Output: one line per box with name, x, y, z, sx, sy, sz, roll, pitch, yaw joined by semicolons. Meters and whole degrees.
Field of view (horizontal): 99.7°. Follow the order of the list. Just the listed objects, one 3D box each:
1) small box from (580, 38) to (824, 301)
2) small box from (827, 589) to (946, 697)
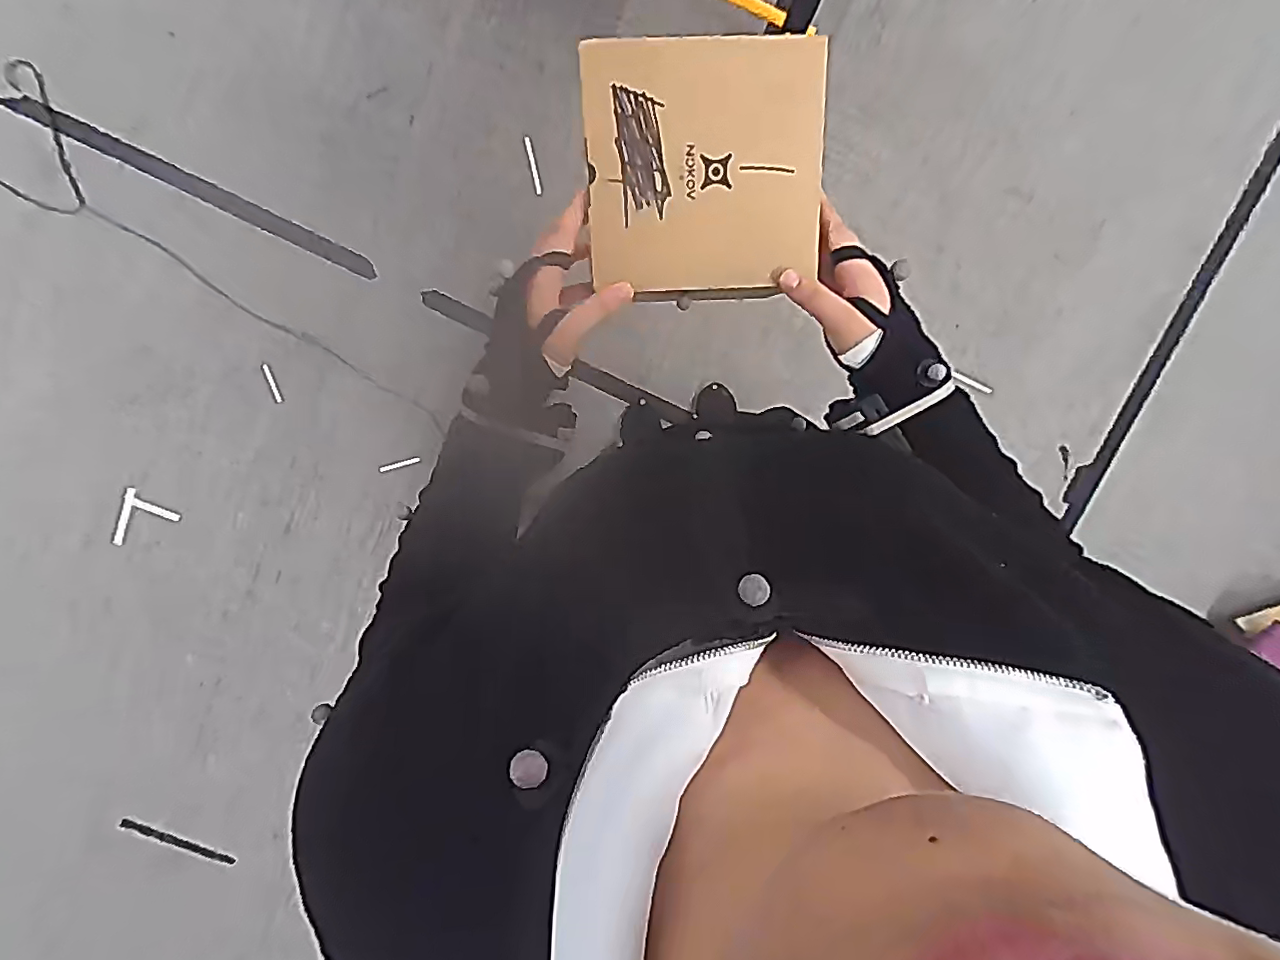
small box;0.046;-0.252;0.480;0.179;0.176;0.168;-2;105;-1
small box;0.586;0.384;1.313;0.179;0.176;0.168;25;98;-2
